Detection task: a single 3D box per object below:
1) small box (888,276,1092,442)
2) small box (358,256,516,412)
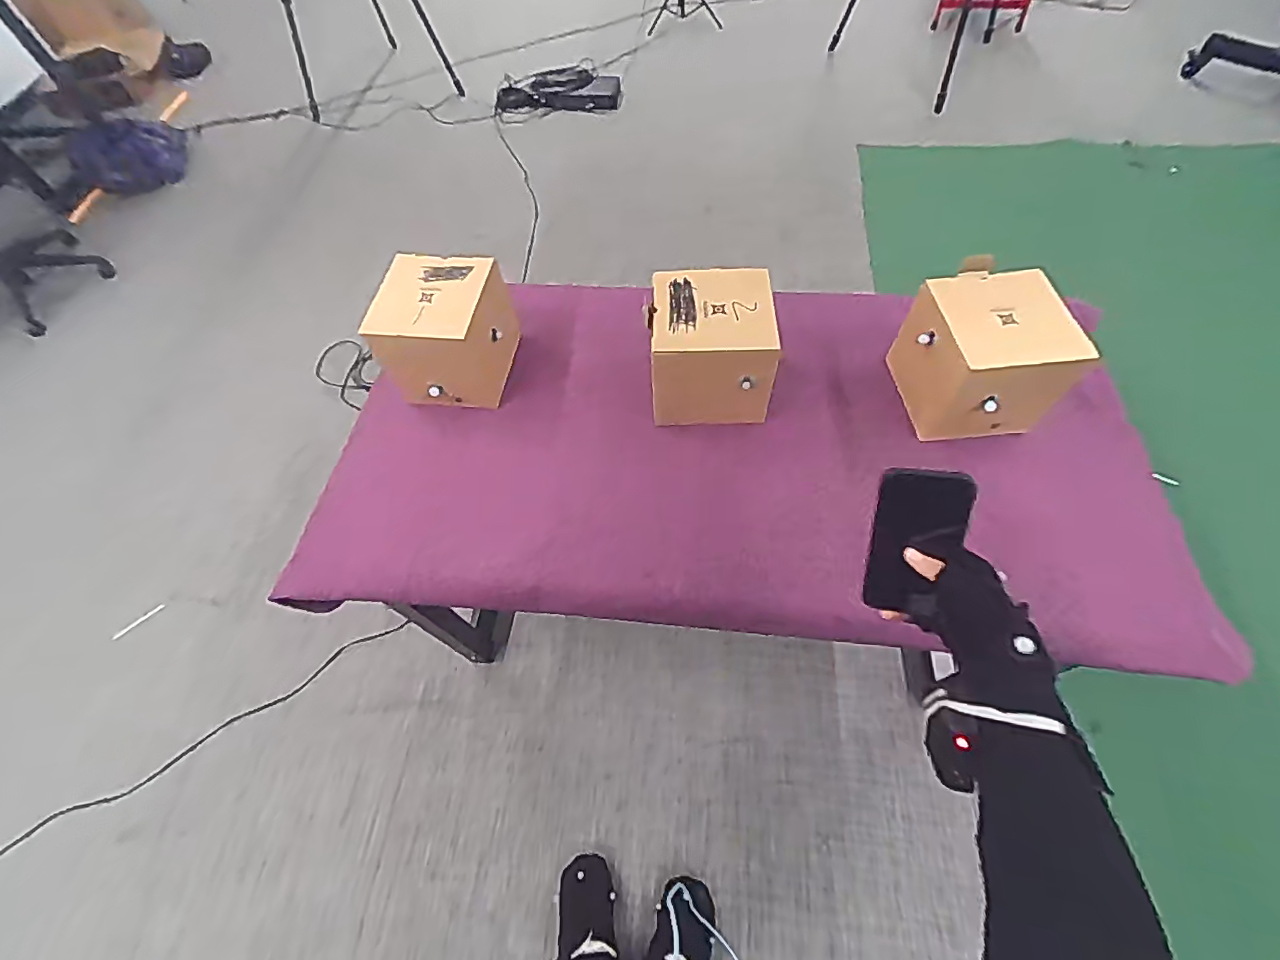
[{"bbox_3d":[0.494,-0.169,0.797,0.168,0.176,0.179,-5,58,1],"label":"small box"},{"bbox_3d":[-0.314,-0.236,0.882,0.168,0.176,0.179,5,61,6],"label":"small box"}]
